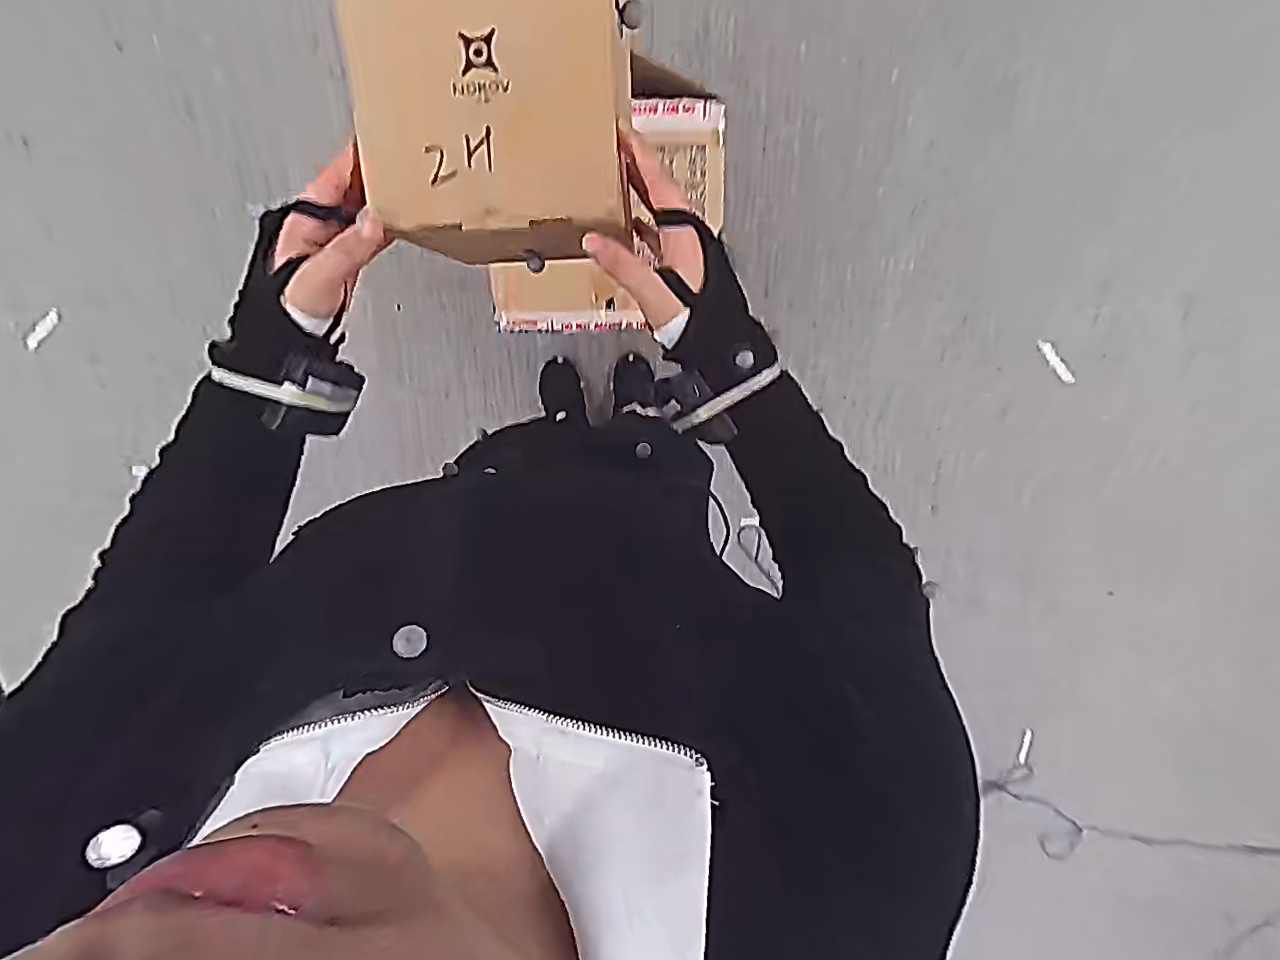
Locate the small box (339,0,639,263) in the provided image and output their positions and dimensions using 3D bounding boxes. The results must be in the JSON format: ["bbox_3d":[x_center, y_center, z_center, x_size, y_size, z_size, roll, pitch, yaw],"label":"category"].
[{"bbox_3d":[-0.089,-0.266,0.400,0.168,0.176,0.179,-1,106,5],"label":"small box"}]
